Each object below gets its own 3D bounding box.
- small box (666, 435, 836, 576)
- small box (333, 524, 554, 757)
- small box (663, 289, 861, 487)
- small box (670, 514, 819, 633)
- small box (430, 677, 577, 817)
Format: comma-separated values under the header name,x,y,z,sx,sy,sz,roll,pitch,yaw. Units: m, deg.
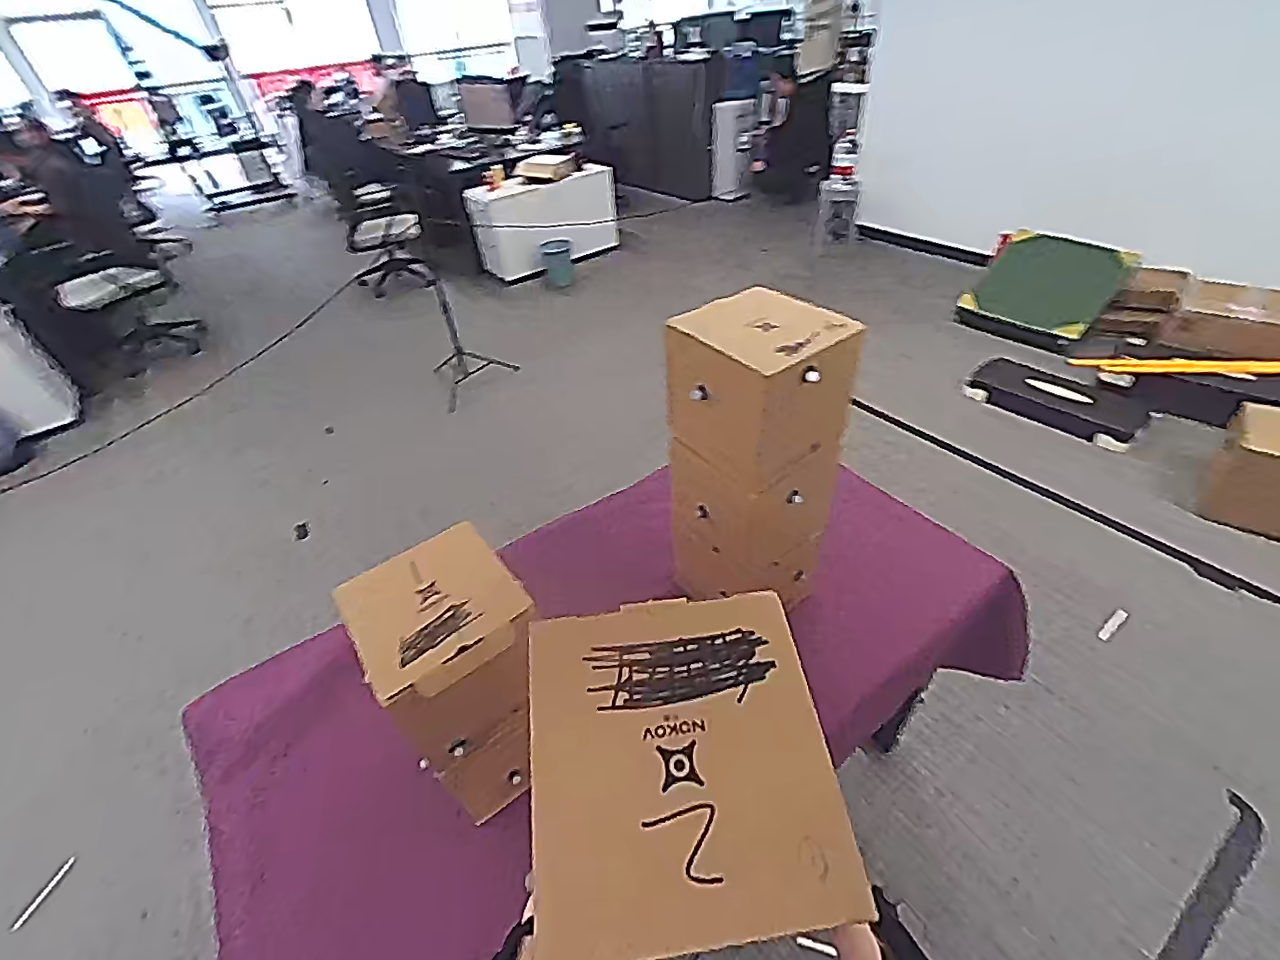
name,x,y,z,sx,sy,sz,roll,pitch,yaw
small box,0.158,0.008,0.795,0.179,0.176,0.168,-29,47,-25
small box,-0.220,0.191,0.634,0.168,0.176,0.179,-30,46,-26
small box,0.146,-0.120,0.693,0.168,0.176,0.179,-29,46,-24
small box,0.170,0.129,0.906,0.168,0.176,0.179,-28,46,-24
small box,-0.206,0.314,0.743,0.168,0.176,0.179,-29,47,-25
